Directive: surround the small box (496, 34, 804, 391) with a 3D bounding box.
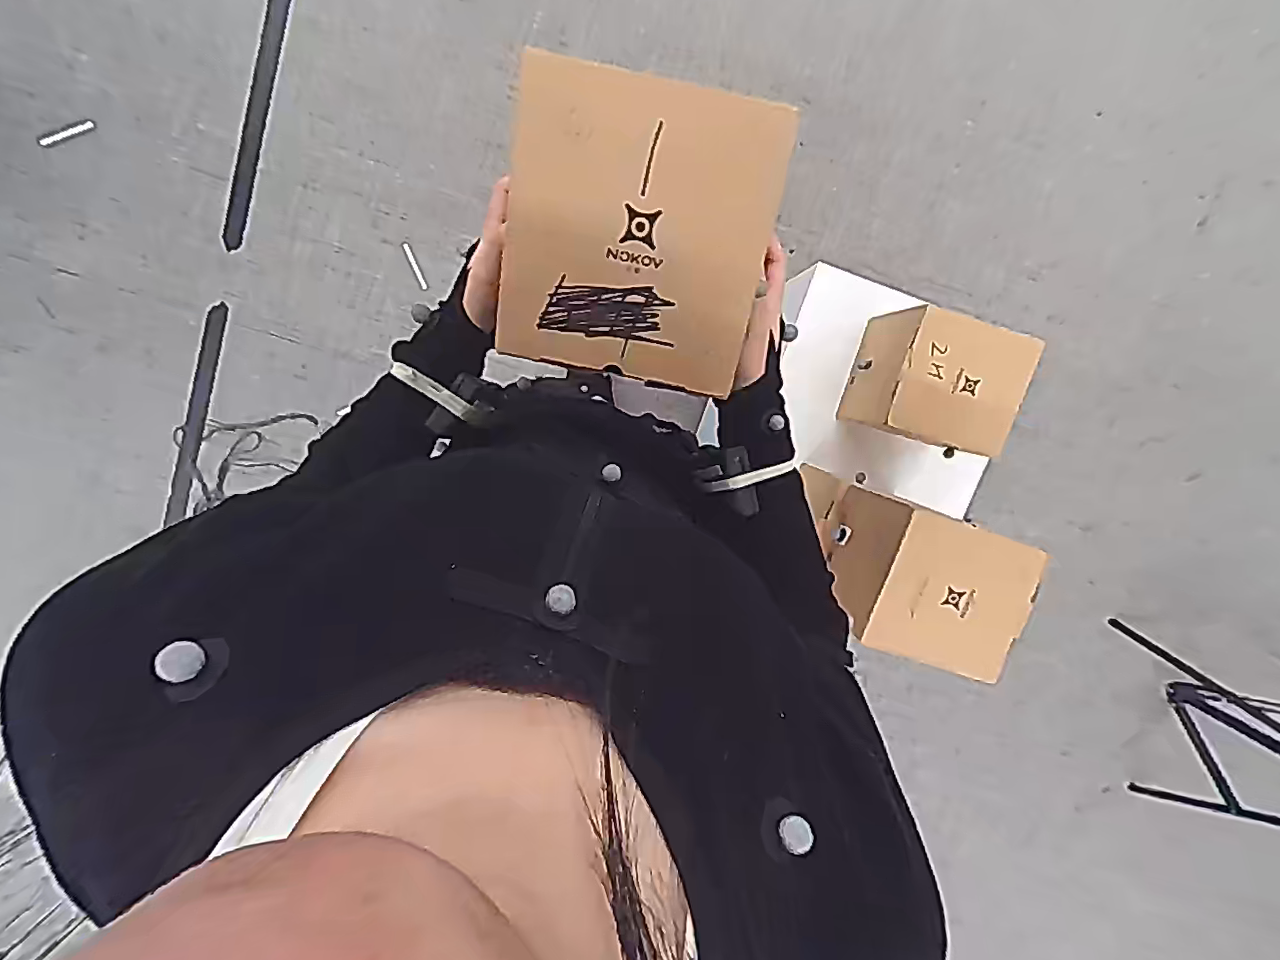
[{"bbox_3d":[0.002,-0.184,0.411,0.168,0.176,0.179,11,111,-3],"label":"small box"}]

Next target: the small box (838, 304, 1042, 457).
[{"bbox_3d":[0.429,-0.146,0.803,0.179,0.176,0.168,16,99,-5],"label":"small box"}]

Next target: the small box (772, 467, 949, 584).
[{"bbox_3d":[0.327,0.085,0.840,0.179,0.176,0.168,19,97,-5],"label":"small box"}]

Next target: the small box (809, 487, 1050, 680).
[{"bbox_3d":[0.345,0.117,0.680,0.179,0.176,0.168,18,97,-5],"label":"small box"}]
